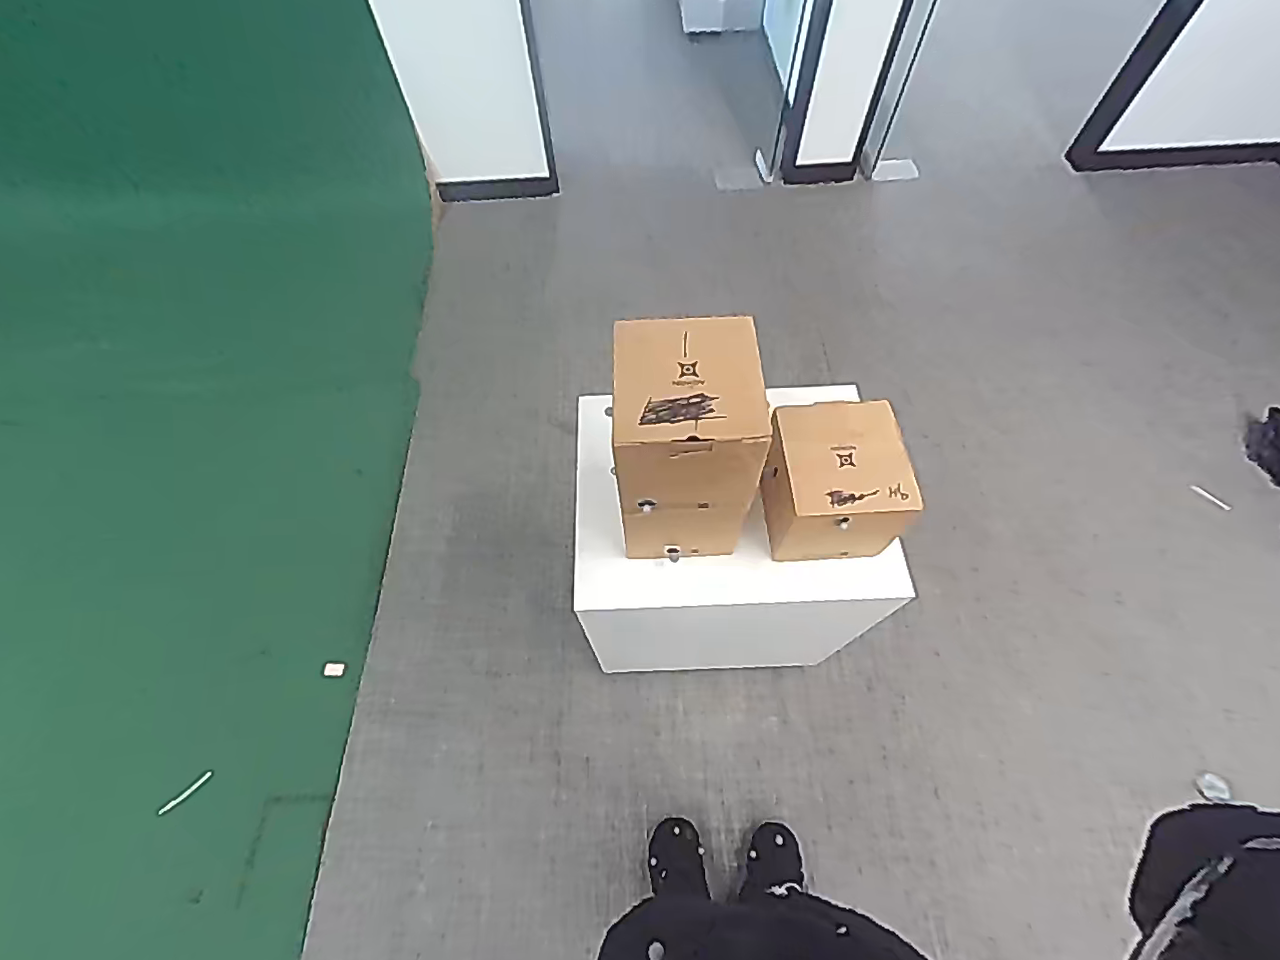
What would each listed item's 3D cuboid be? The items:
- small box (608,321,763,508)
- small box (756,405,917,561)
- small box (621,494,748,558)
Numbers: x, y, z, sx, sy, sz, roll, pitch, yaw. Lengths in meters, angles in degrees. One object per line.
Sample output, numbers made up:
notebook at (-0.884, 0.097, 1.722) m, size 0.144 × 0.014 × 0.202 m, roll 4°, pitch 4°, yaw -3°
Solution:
small box at (0.052, -0.073, 0.674) m, size 0.168 × 0.176 × 0.179 m, roll -1°, pitch 59°, yaw 1°
small box at (0.276, 0.008, 0.807) m, size 0.168 × 0.176 × 0.179 m, roll -2°, pitch 60°, yaw 0°
small box at (0.055, 0.001, 0.802) m, size 0.168 × 0.176 × 0.179 m, roll -4°, pitch 62°, yaw 0°
